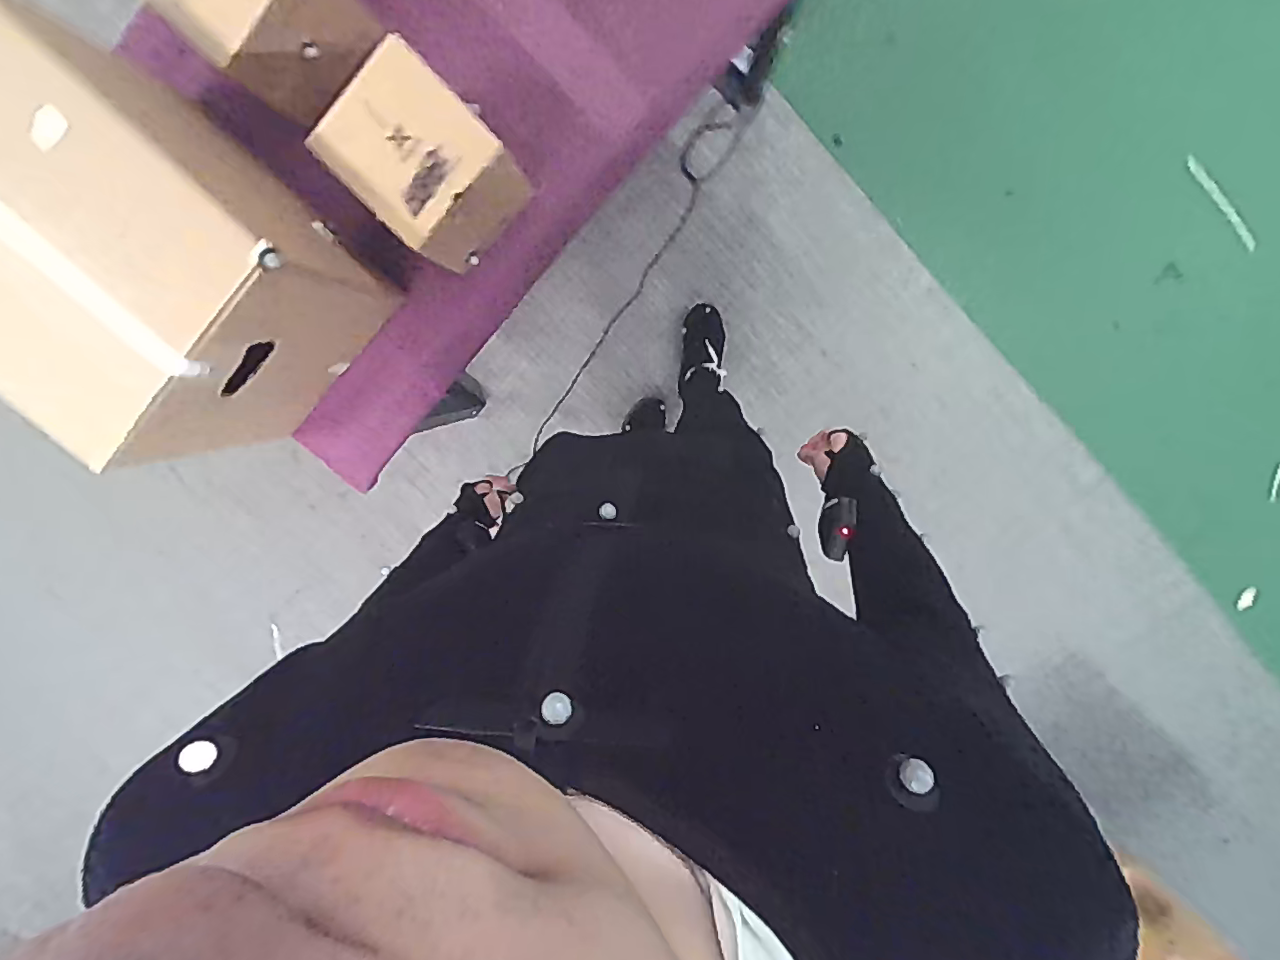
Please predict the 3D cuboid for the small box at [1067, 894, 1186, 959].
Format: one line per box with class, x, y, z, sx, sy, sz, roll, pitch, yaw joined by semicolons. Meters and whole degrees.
small box;1.224;1.184;1.335;0.168;0.176;0.179;41;99;-8
